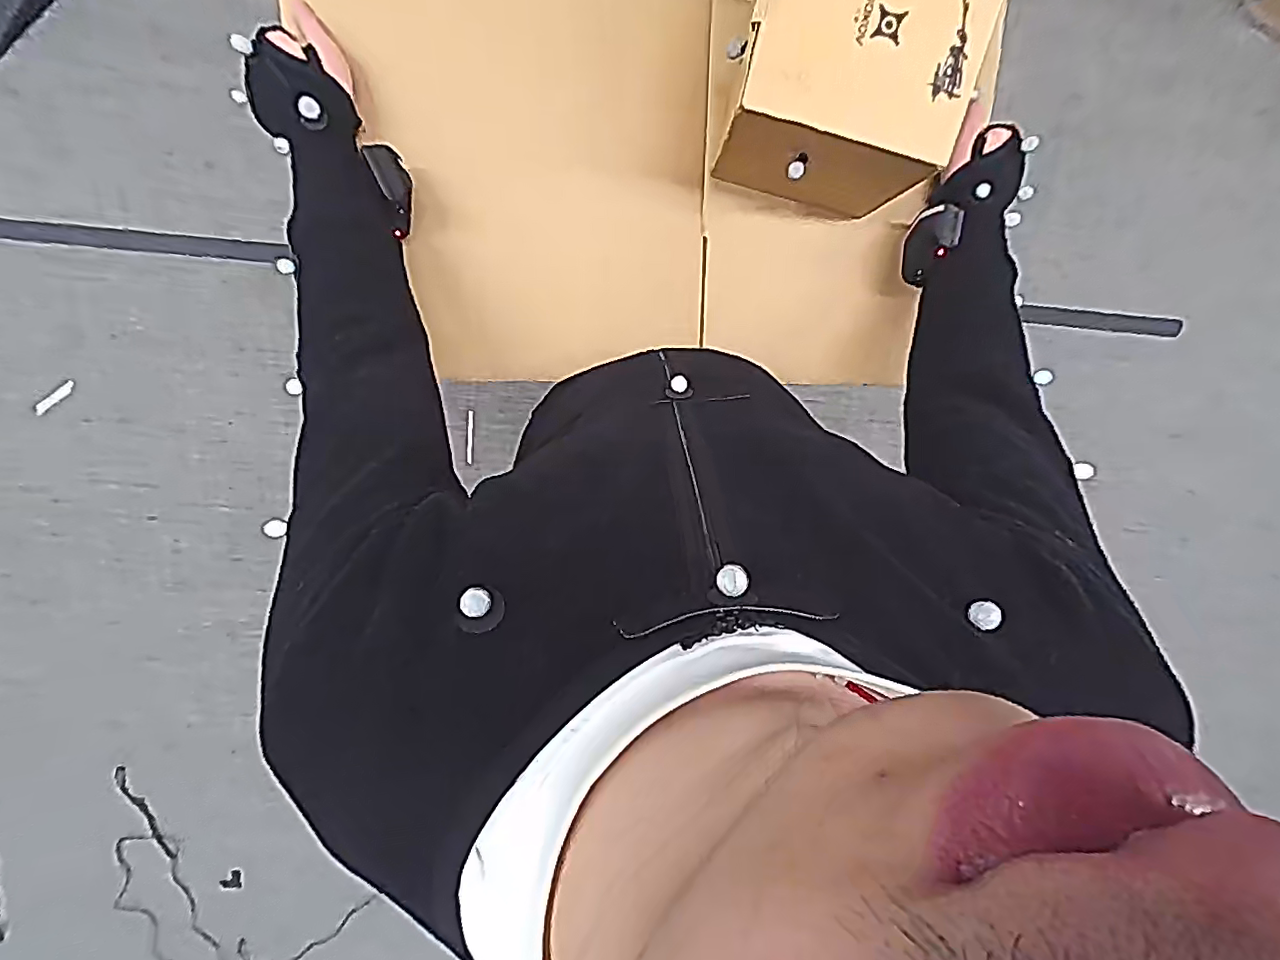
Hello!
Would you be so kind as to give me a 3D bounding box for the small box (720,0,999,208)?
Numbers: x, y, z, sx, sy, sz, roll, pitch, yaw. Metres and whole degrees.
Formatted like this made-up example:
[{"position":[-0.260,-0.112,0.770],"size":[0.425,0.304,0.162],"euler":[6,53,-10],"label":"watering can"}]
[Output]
[{"position":[0.182,-0.370,0.492],"size":[0.179,0.176,0.168],"euler":[14,103,-3],"label":"small box"}]
